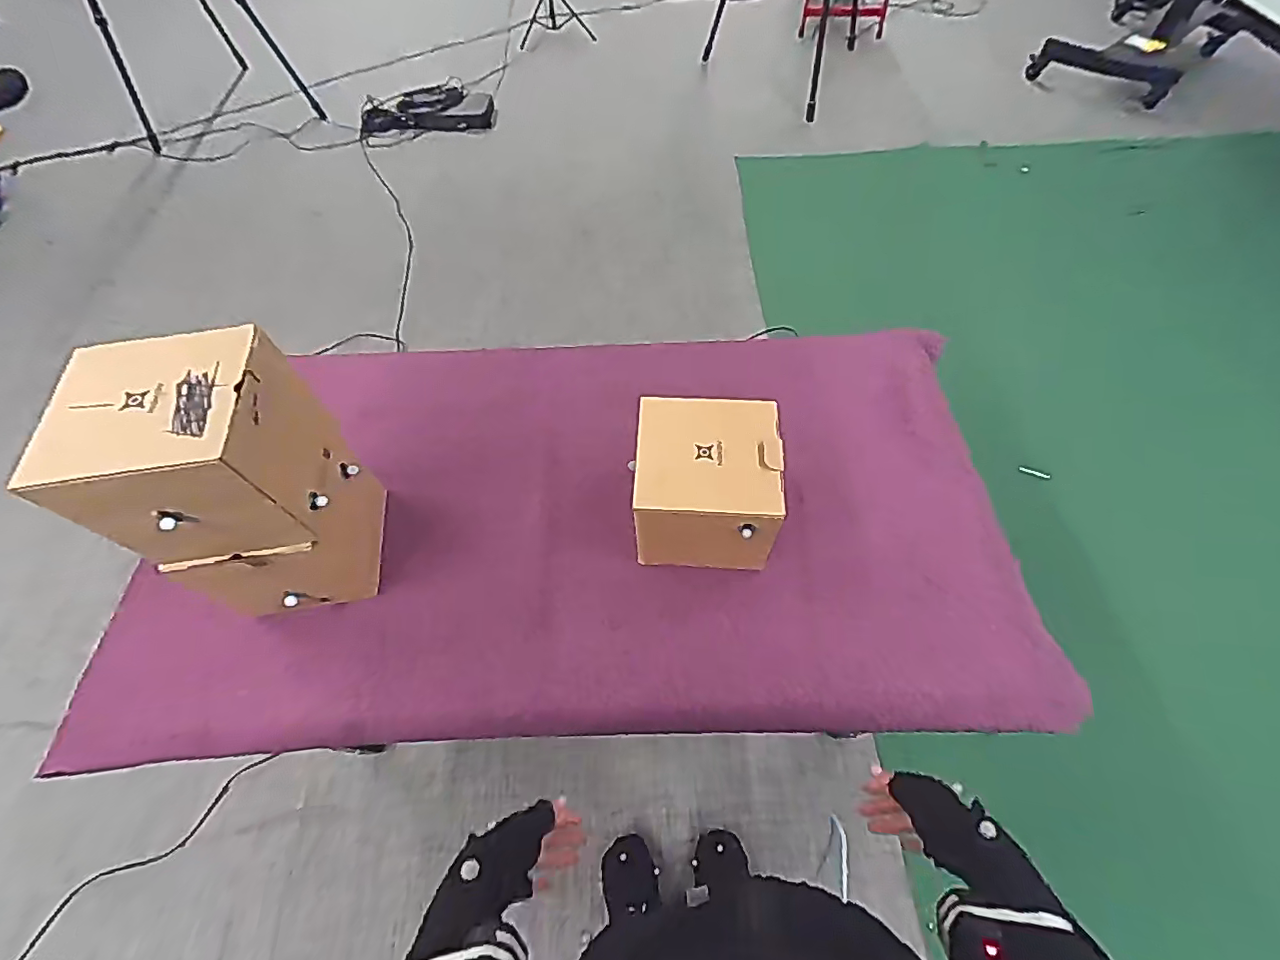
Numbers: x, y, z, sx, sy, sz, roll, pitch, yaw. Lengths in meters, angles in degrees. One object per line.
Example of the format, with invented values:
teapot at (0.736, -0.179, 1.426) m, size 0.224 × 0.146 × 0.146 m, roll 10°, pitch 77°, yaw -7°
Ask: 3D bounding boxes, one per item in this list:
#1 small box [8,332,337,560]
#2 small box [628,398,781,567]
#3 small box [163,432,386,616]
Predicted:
small box at (-0.452, -0.029, 0.567) m, size 0.179 × 0.176 × 0.168 m, roll -6°, pitch 57°, yaw -2°
small box at (0.081, 0.009, 0.719) m, size 0.179 × 0.176 × 0.168 m, roll 2°, pitch 60°, yaw 3°
small box at (-0.453, 0.060, 0.708) m, size 0.168 × 0.176 × 0.179 m, roll -9°, pitch 59°, yaw -3°
